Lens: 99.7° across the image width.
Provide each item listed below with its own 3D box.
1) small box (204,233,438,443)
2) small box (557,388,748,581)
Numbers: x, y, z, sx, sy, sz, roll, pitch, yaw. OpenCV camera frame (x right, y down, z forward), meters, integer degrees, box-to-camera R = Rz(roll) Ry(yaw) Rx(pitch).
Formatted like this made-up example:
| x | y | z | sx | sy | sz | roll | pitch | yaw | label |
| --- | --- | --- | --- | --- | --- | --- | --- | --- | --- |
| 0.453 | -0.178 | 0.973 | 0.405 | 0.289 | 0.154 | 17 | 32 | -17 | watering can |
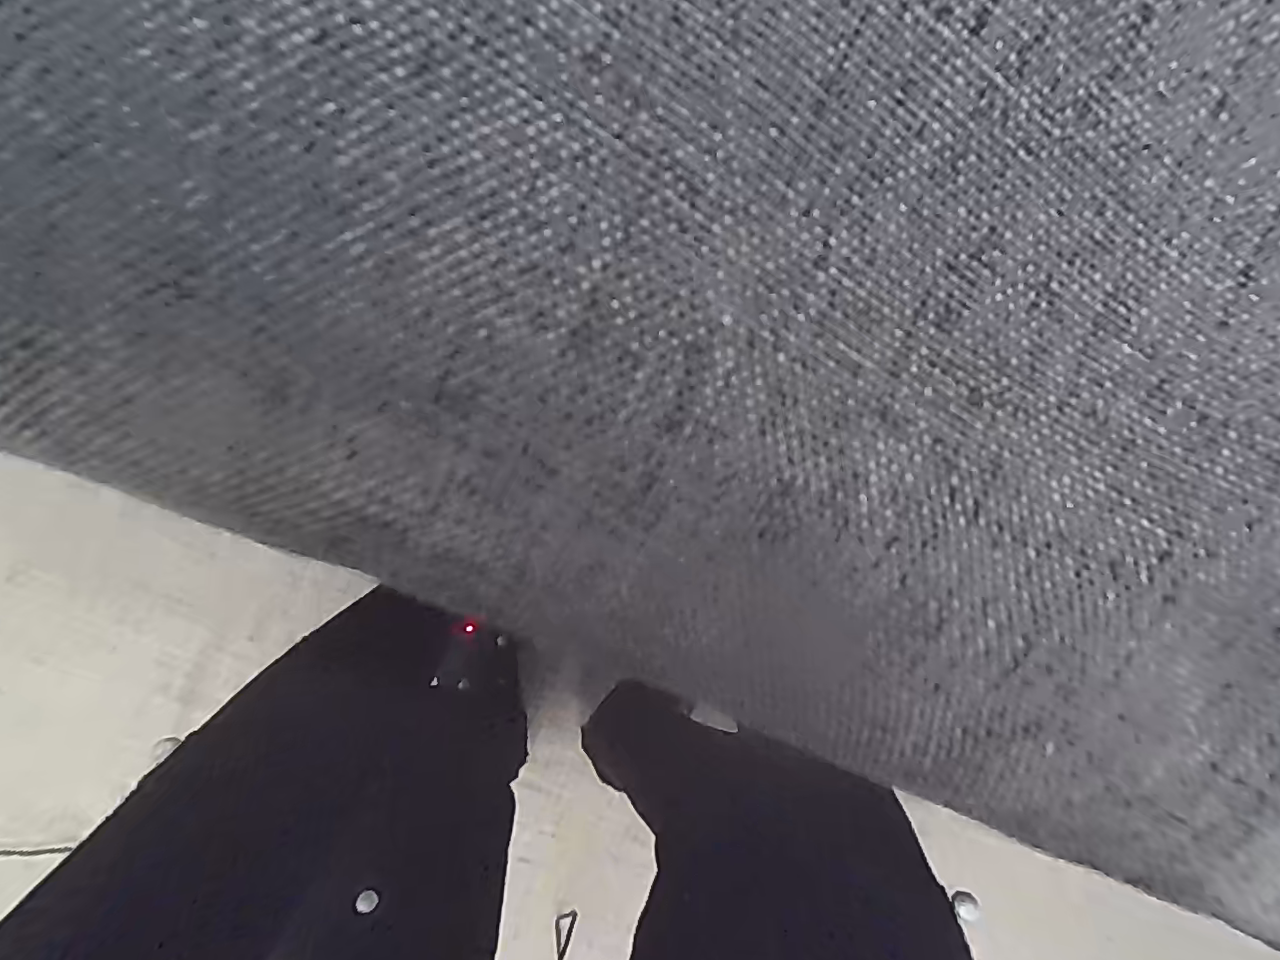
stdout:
| x | y | z | sx | sy | sz | roll | pitch | yaw | label |
| --- | --- | --- | --- | --- | --- | --- | --- | --- | --- |
| -0.366 | -0.161 | 0.657 | 0.168 | 0.176 | 0.179 | 22 | 98 | -6 | small box |
| 0.011 | -0.004 | 0.701 | 0.168 | 0.176 | 0.179 | 28 | 97 | -8 | small box |
